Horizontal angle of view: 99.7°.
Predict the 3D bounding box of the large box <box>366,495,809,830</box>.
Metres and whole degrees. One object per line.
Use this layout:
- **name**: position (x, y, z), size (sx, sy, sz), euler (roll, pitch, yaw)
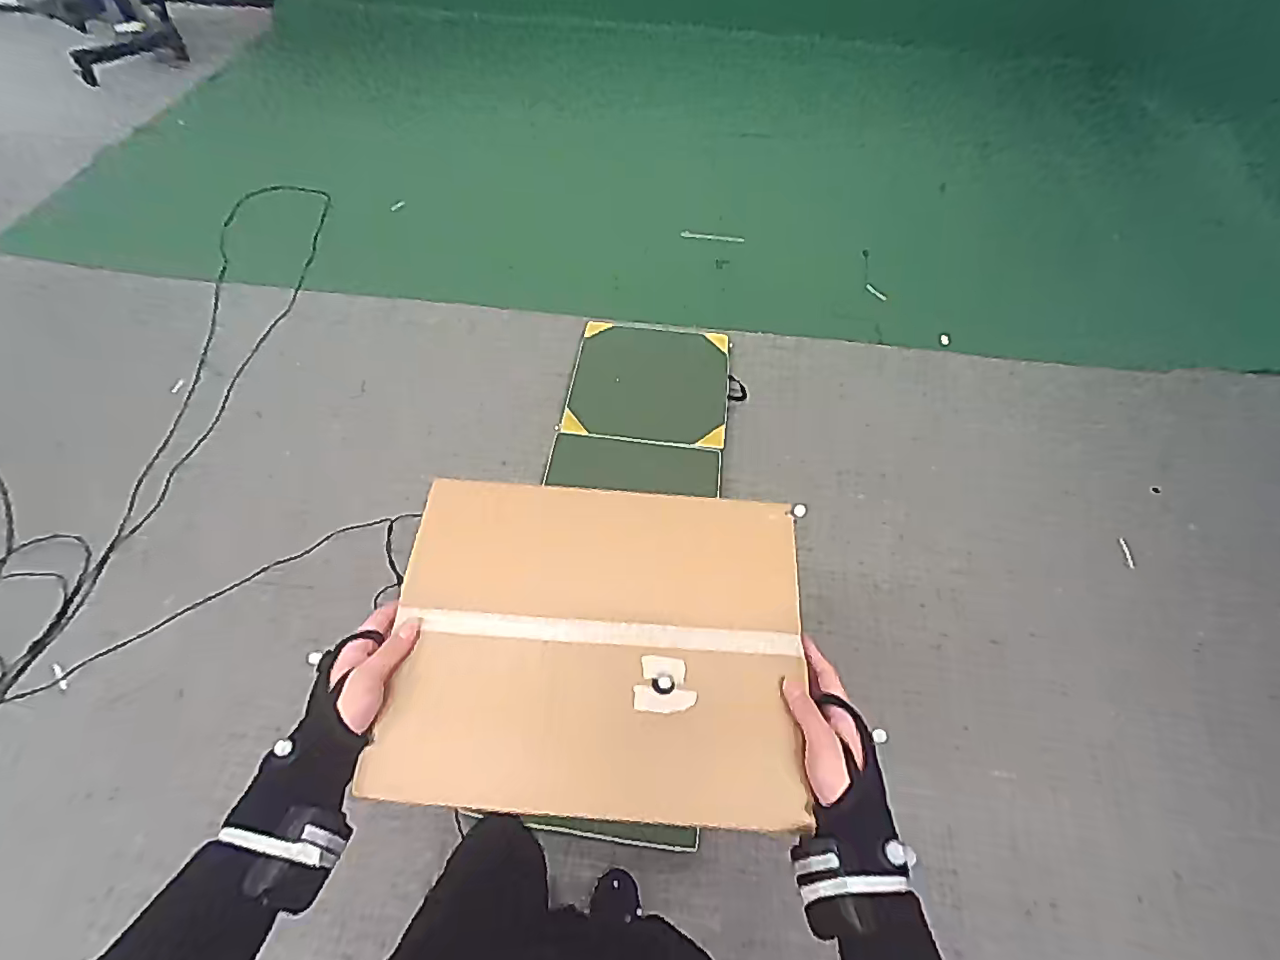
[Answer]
- **large box**: position (-0.046, 0.232, 0.677), size (0.408, 0.320, 0.320), euler (4, 63, 0)
